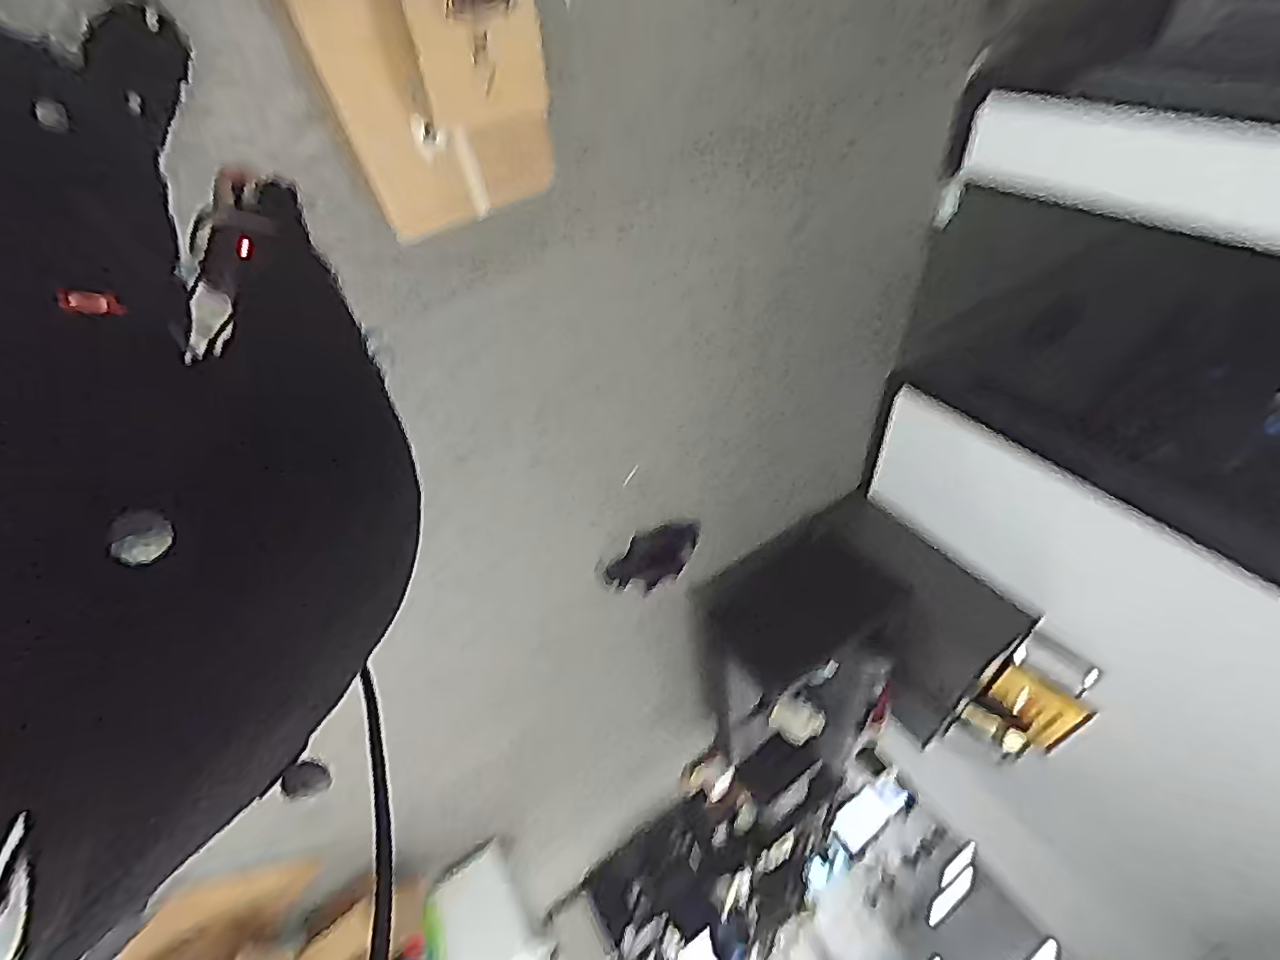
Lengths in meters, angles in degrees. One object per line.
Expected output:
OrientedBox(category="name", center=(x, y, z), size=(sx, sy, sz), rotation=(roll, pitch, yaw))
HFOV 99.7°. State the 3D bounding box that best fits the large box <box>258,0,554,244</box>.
OrientedBox(category="large box", center=(-0.395, -0.692, 0.913), size=(0.320, 0.320, 0.408), rotation=(-30, 140, -16))
